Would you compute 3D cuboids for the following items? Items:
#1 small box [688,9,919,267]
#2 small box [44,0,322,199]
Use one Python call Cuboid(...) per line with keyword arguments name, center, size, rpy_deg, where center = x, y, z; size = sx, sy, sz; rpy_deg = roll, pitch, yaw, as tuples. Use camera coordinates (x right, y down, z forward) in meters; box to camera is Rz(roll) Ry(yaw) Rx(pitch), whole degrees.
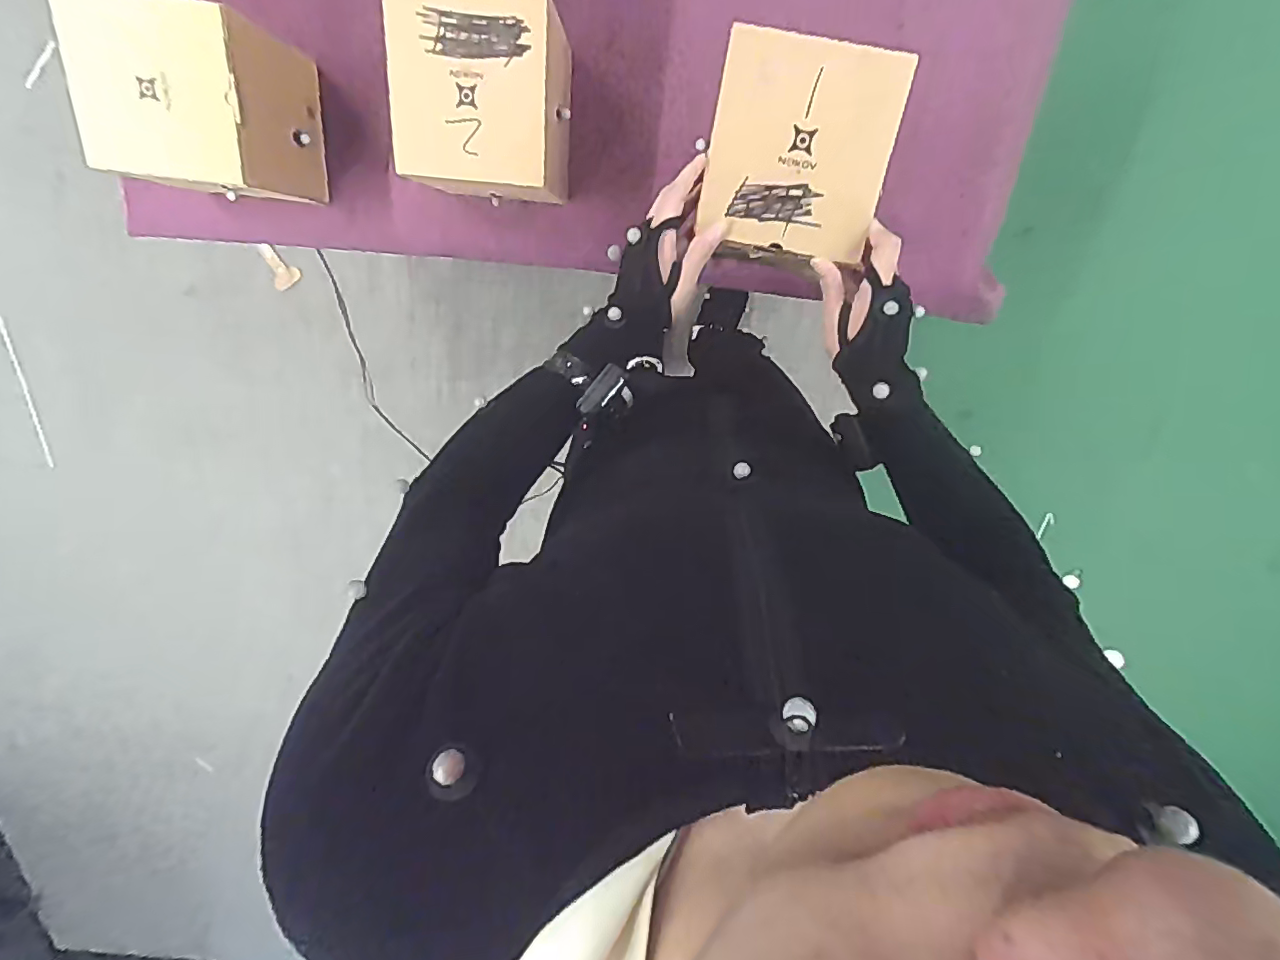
Cuboid(name="small box", center=(0.148, -0.327, 0.557), size=(0.168, 0.176, 0.179), rpy_deg=(11, 108, 1))
Cuboid(name="small box", center=(-0.513, -0.438, 0.636), size=(0.179, 0.176, 0.168), rpy_deg=(6, 111, -1))
